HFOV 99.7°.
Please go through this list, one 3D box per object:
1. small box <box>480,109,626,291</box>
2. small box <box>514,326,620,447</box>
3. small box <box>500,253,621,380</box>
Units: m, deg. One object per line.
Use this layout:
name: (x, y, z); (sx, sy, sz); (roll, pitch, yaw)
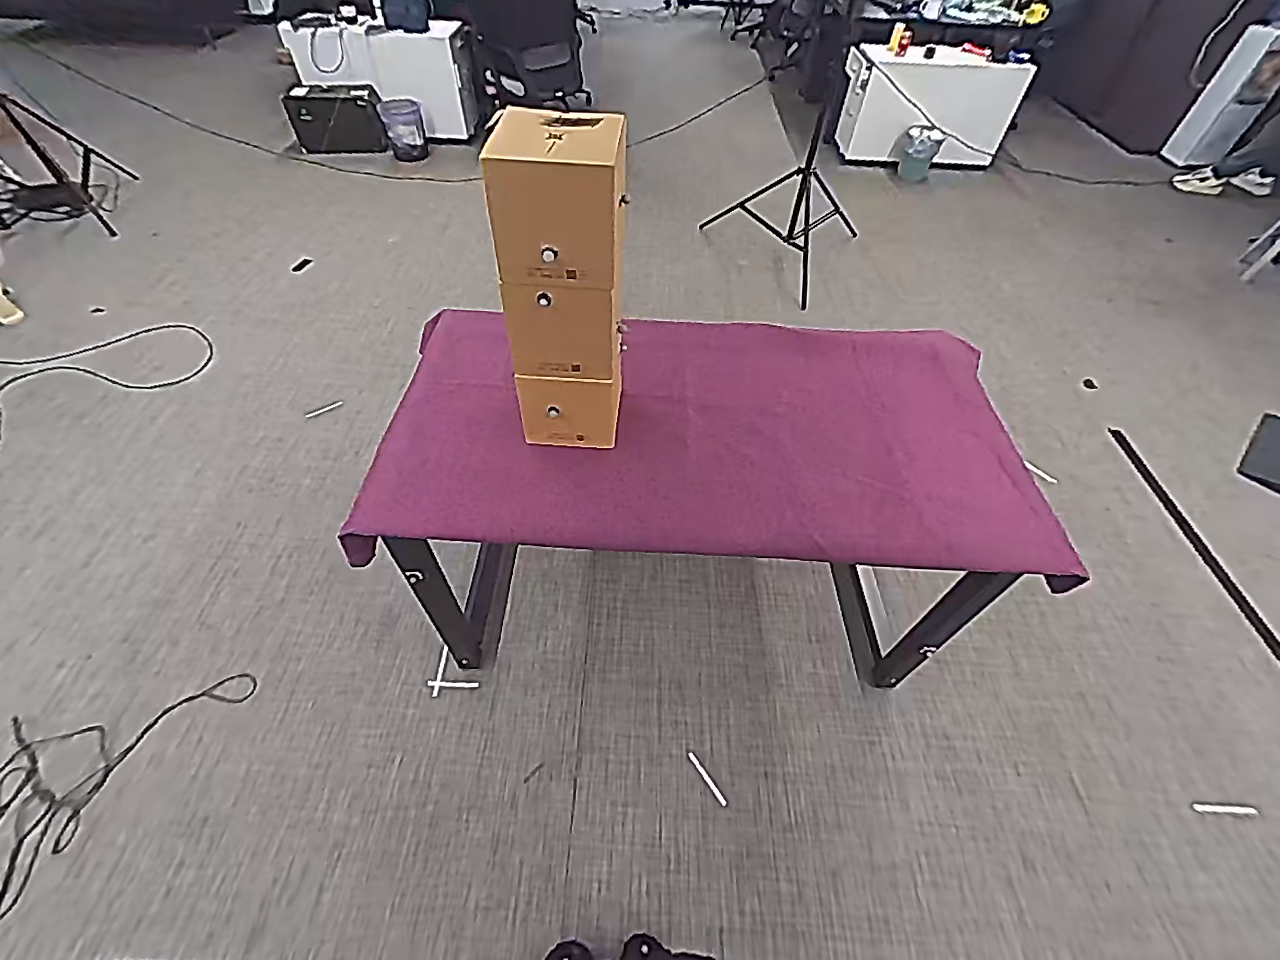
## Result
small box: (-0.110, -0.392, 0.760); (0.168, 0.176, 0.179); (4, 51, 0)
small box: (-0.126, -0.179, 1.010); (0.168, 0.176, 0.179); (3, 50, 0)
small box: (-0.121, -0.288, 0.888); (0.168, 0.176, 0.179); (3, 50, 0)
